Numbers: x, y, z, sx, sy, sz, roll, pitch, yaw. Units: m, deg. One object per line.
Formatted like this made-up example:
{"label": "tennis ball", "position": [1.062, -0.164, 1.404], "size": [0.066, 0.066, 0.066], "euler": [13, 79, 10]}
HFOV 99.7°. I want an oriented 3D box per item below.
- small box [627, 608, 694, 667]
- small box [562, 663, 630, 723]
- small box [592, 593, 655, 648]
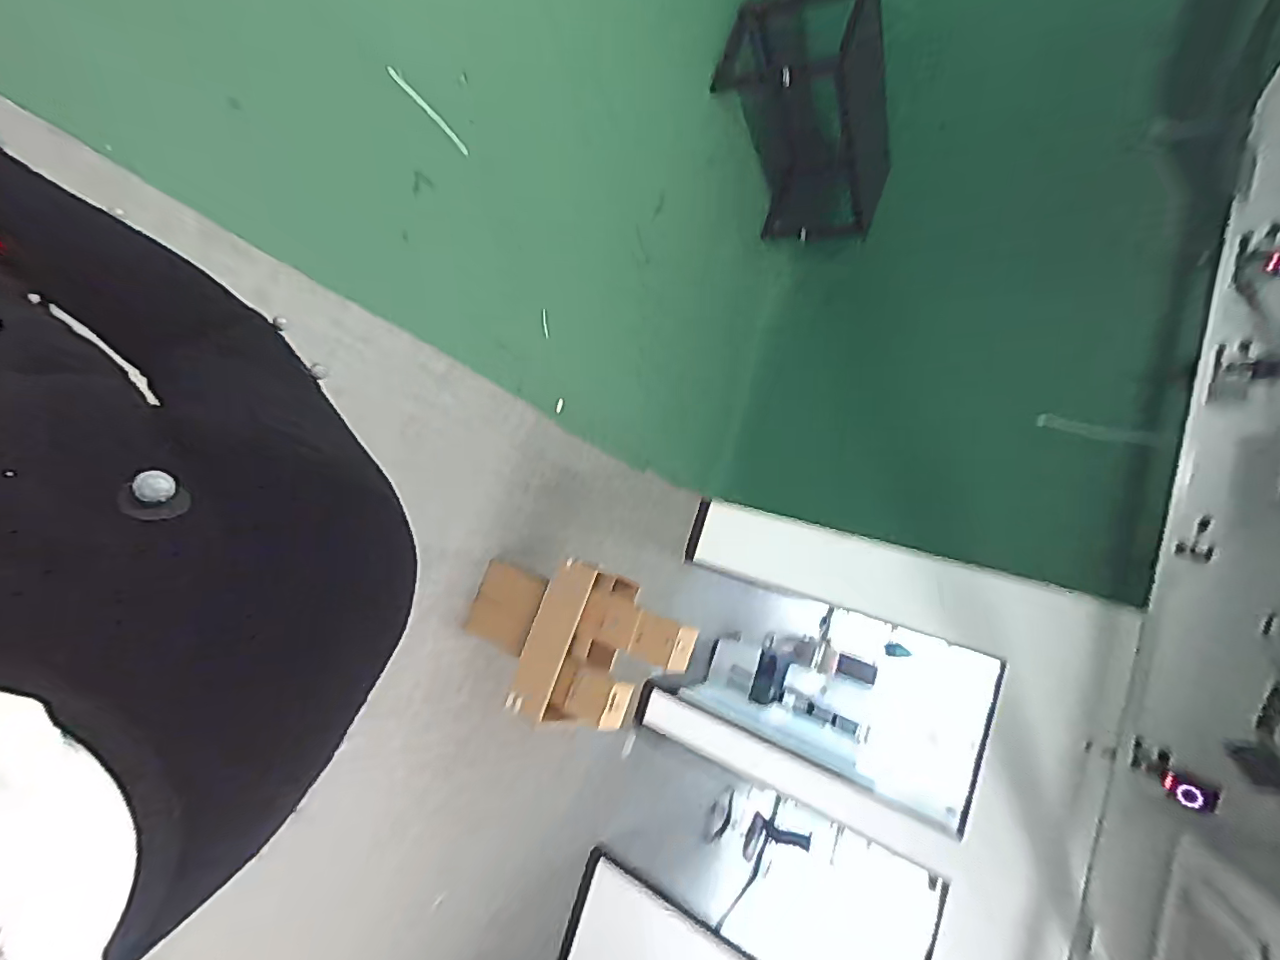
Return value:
{"label": "small box", "position": [0.077, 0.591, 2.035], "size": [0.179, 0.176, 0.168], "euler": [33, 74, -58]}
{"label": "small box", "position": [-0.168, 0.808, 2.054], "size": [0.179, 0.176, 0.168], "euler": [42, 66, -57]}
{"label": "small box", "position": [-0.062, 0.551, 2.112], "size": [0.179, 0.176, 0.168], "euler": [34, 74, -57]}
